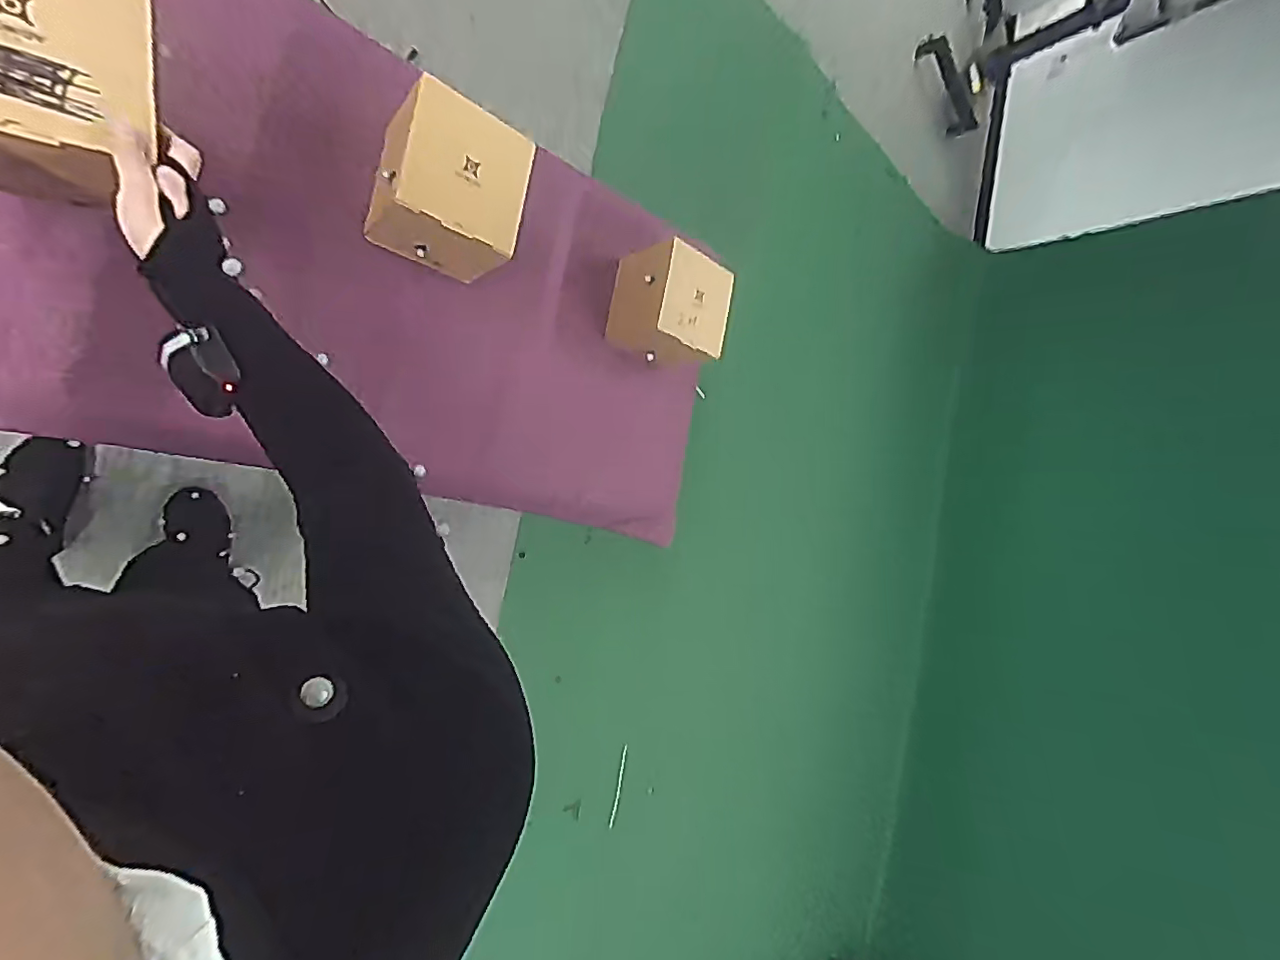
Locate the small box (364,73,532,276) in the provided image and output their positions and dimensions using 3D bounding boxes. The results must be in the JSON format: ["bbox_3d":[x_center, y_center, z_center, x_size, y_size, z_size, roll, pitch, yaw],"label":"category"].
[{"bbox_3d":[-0.286,-0.428,0.795,0.168,0.176,0.179,14,87,-40],"label":"small box"}]

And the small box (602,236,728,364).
[{"bbox_3d":[0.045,-0.343,1.073,0.168,0.176,0.179,15,85,-38],"label":"small box"}]
